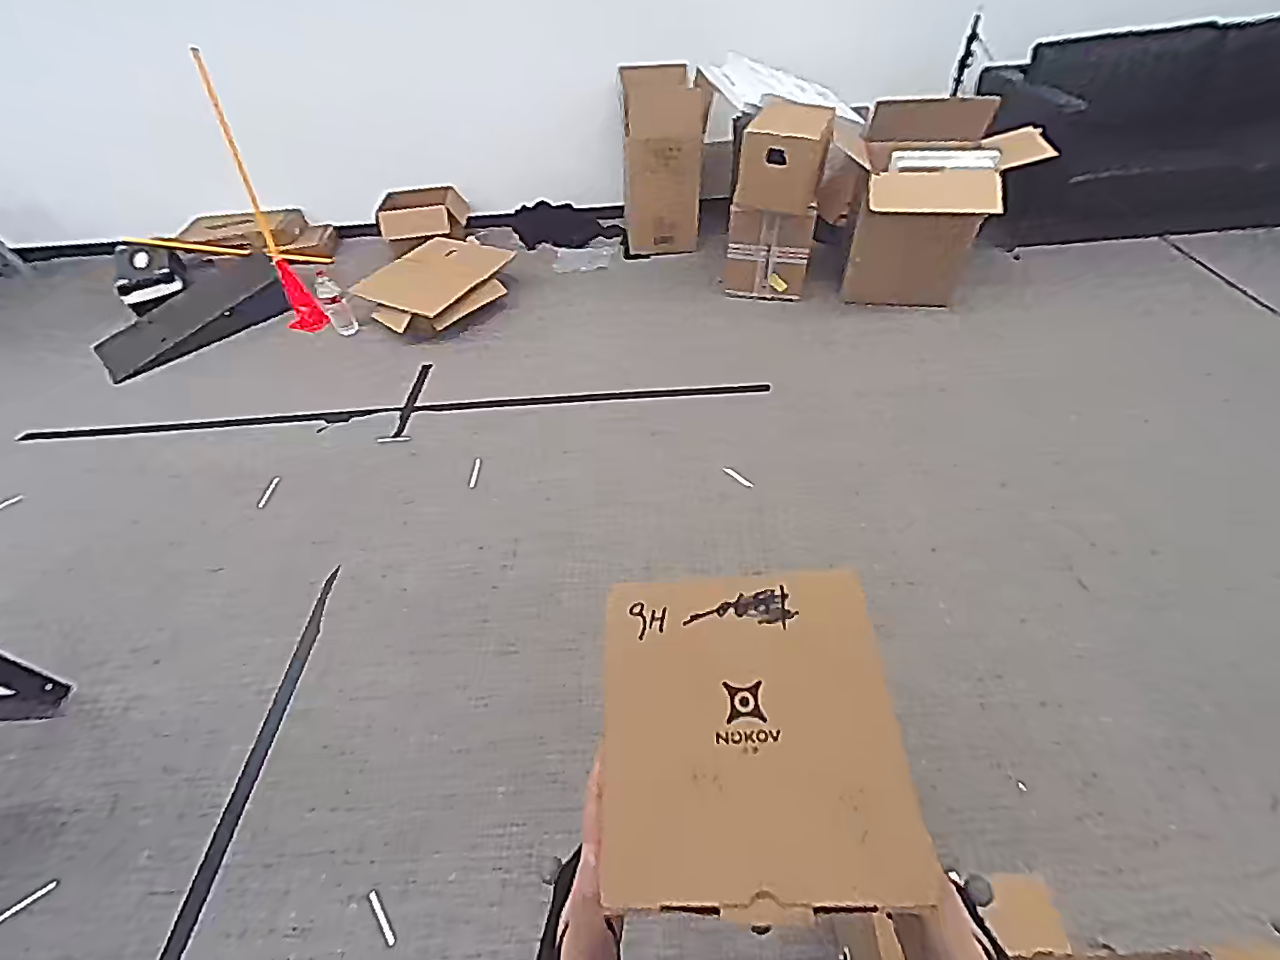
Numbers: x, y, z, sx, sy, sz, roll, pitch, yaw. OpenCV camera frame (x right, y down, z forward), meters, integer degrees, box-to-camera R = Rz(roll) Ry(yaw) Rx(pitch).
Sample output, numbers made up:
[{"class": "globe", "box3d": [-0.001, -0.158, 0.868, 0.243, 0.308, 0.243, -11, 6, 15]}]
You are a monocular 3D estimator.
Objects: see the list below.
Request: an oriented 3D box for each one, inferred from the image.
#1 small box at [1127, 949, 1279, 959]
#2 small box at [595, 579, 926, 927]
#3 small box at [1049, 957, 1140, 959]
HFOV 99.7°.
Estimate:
[{"class": "small box", "box3d": [0.509, 0.455, 0.396, 0.179, 0.176, 0.168, -5, 47, 2]}, {"class": "small box", "box3d": [0.068, 0.186, 0.376, 0.168, 0.176, 0.179, -6, 56, 6]}, {"class": "small box", "box3d": [0.516, 0.567, 0.516, 0.179, 0.176, 0.168, -4, 47, 2]}]
